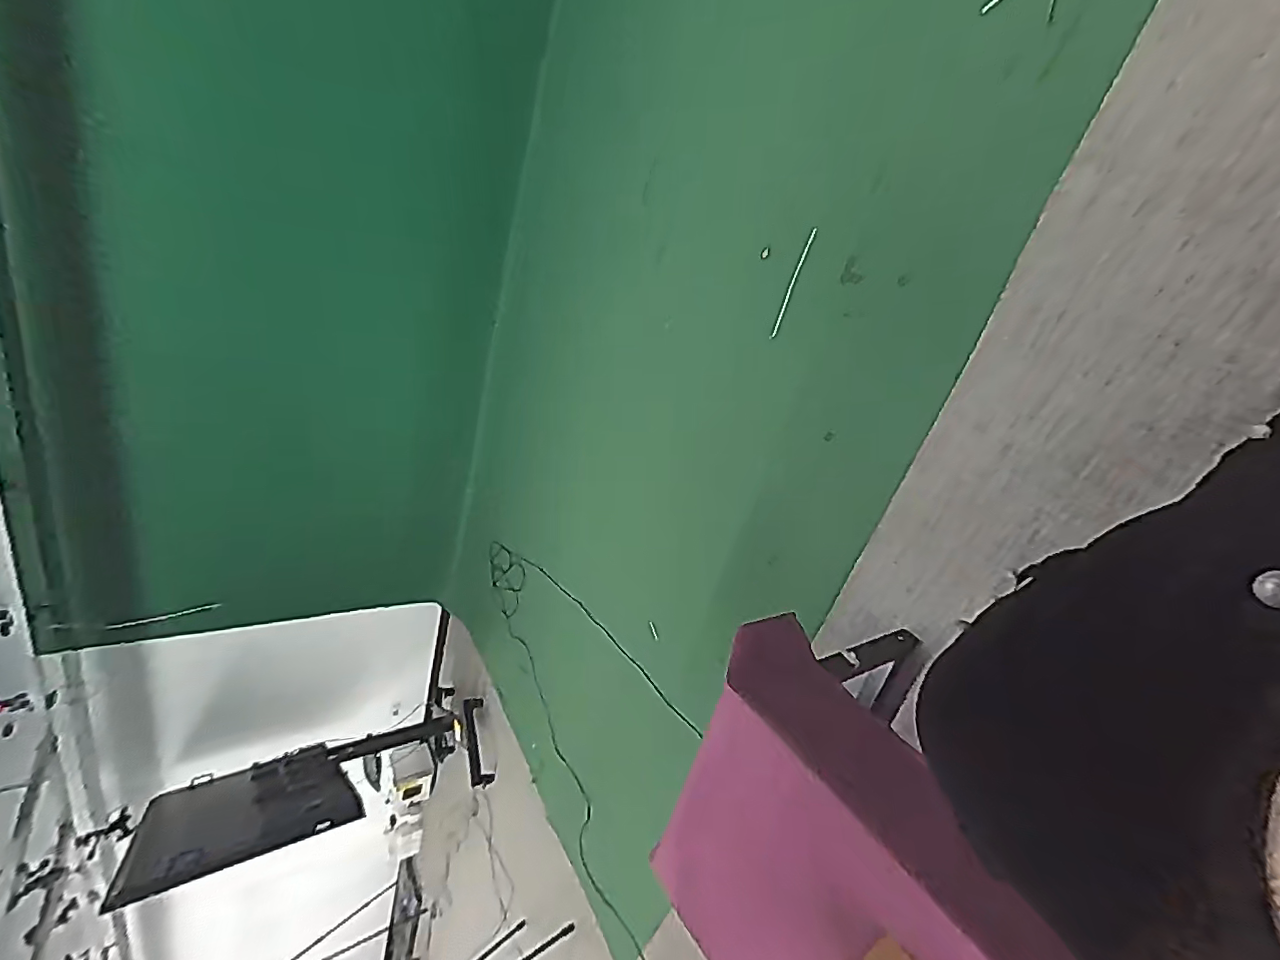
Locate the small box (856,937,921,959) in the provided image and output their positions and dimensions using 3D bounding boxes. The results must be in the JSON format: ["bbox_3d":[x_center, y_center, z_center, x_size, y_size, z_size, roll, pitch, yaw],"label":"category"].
[{"bbox_3d":[0.363,0.818,0.781,0.179,0.176,0.168,39,122,46],"label":"small box"}]
